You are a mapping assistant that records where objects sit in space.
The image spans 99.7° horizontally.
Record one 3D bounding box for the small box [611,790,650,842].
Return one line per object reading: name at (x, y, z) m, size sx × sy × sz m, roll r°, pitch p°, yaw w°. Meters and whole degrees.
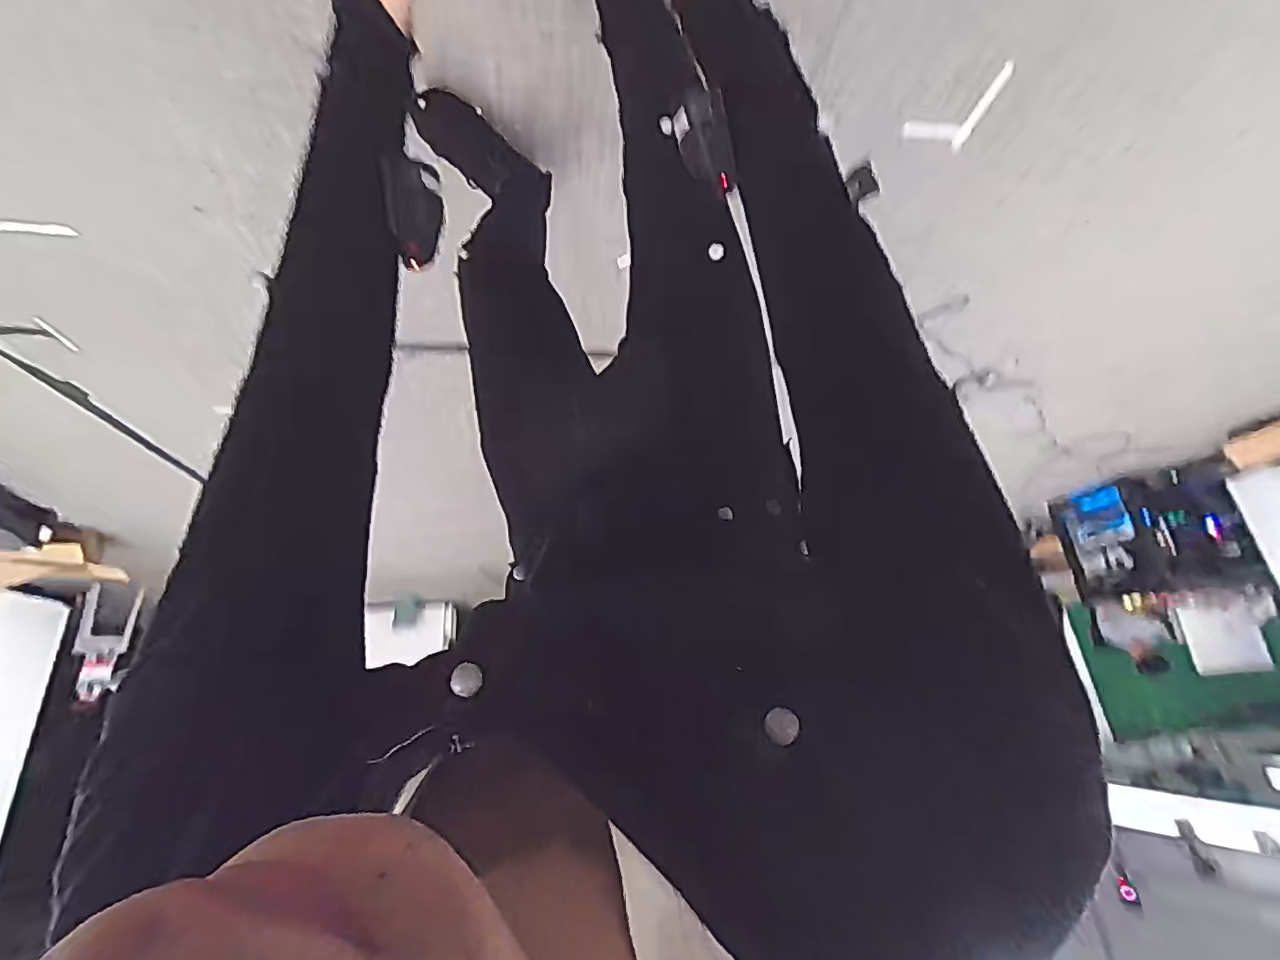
small box at (-0.040, 1.512, 2.443) m, size 0.168 × 0.176 × 0.179 m, roll -1°, pitch 158°, yaw -11°
